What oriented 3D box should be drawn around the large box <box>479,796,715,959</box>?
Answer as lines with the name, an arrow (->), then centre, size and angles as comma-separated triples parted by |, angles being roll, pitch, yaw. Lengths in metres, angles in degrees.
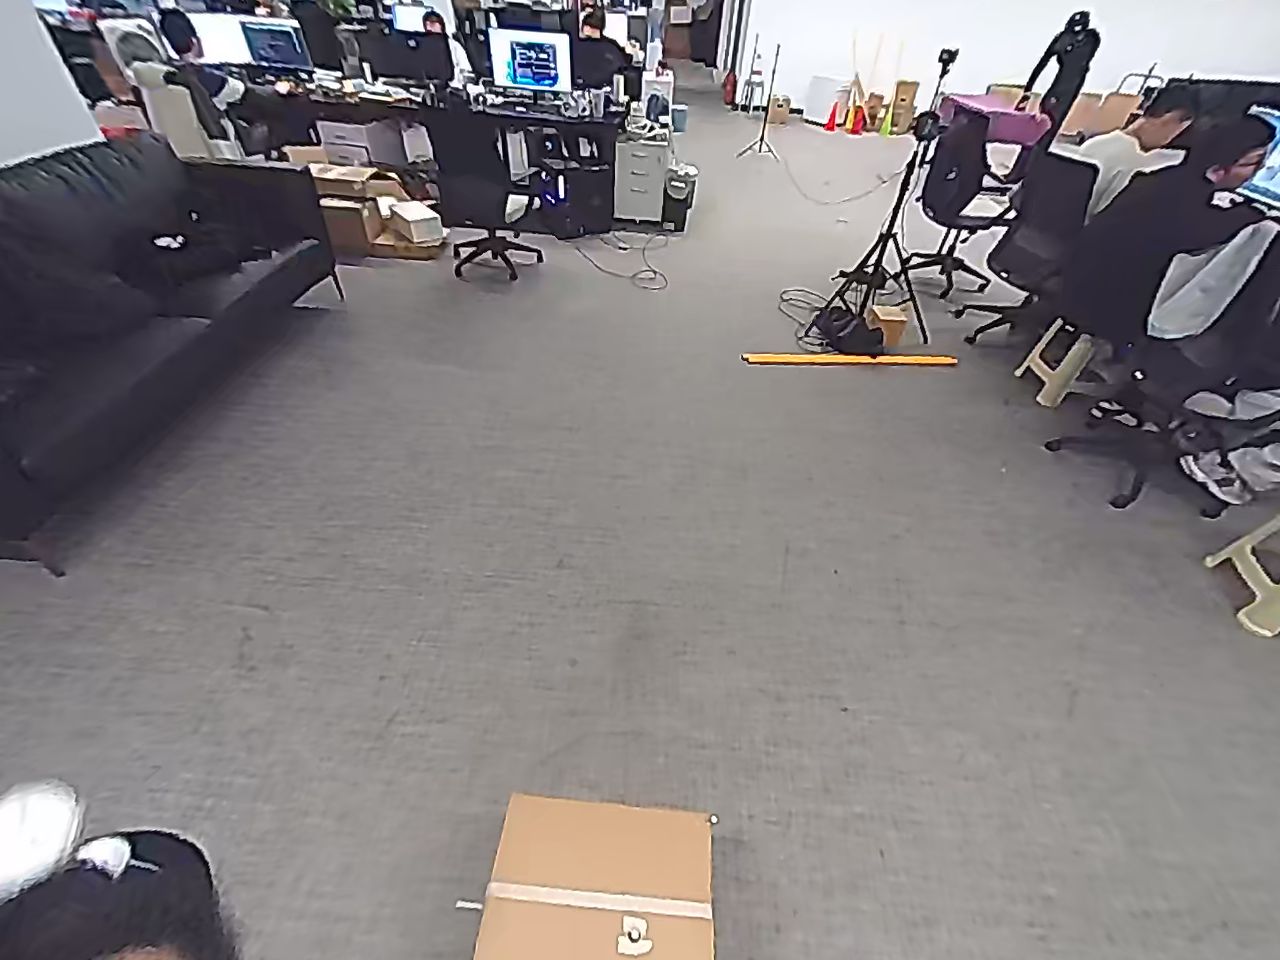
large box -> -0.074, 0.861, 1.066 | 0.408, 0.320, 0.320 | 5, 42, 2
